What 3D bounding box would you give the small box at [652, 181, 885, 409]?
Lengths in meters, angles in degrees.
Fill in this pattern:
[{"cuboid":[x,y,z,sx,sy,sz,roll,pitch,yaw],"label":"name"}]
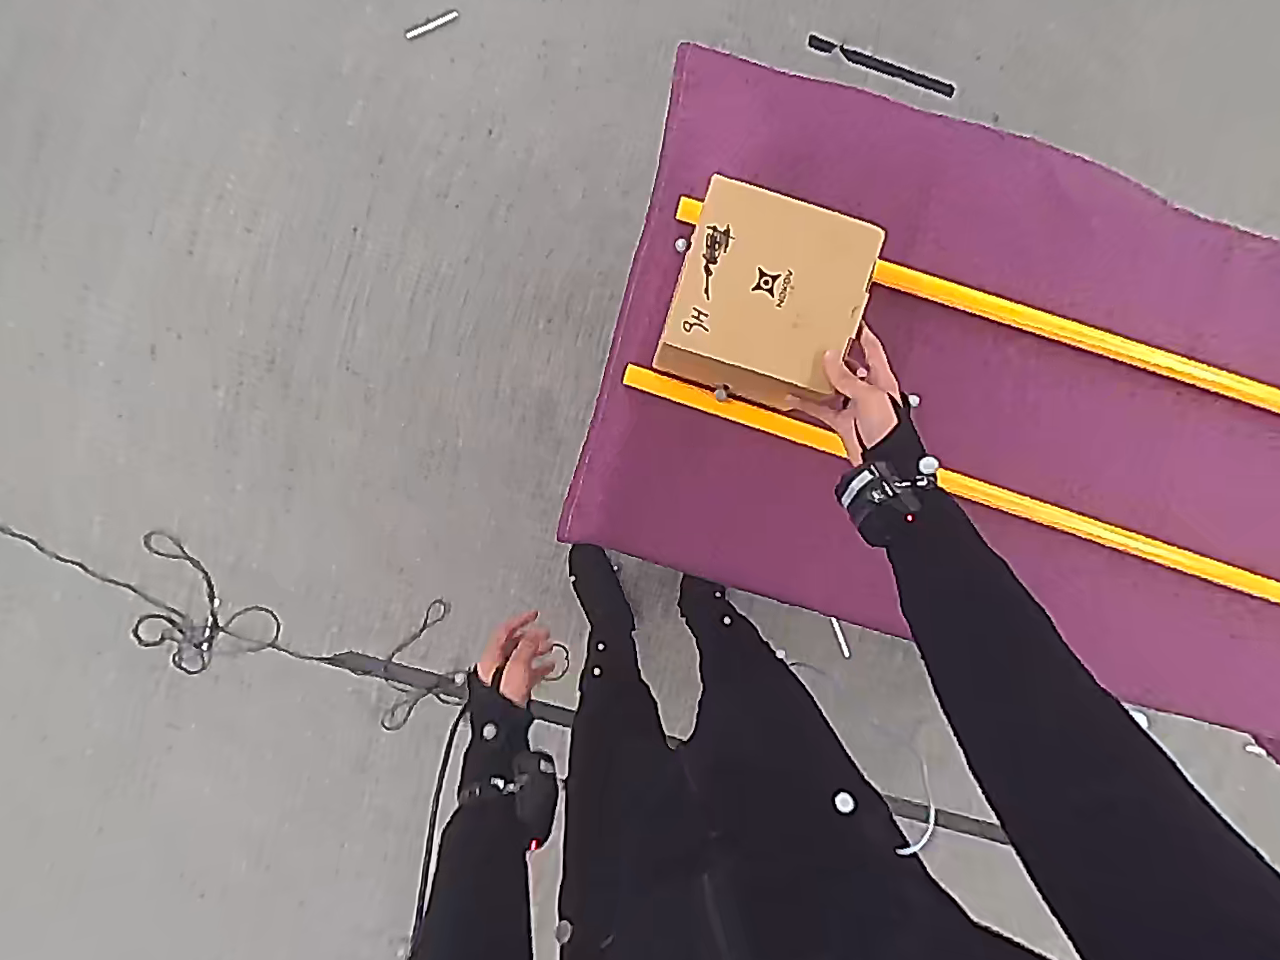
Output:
[{"cuboid":[0.122,-0.179,0.586,0.179,0.176,0.168,17,92,-3],"label":"small box"}]
